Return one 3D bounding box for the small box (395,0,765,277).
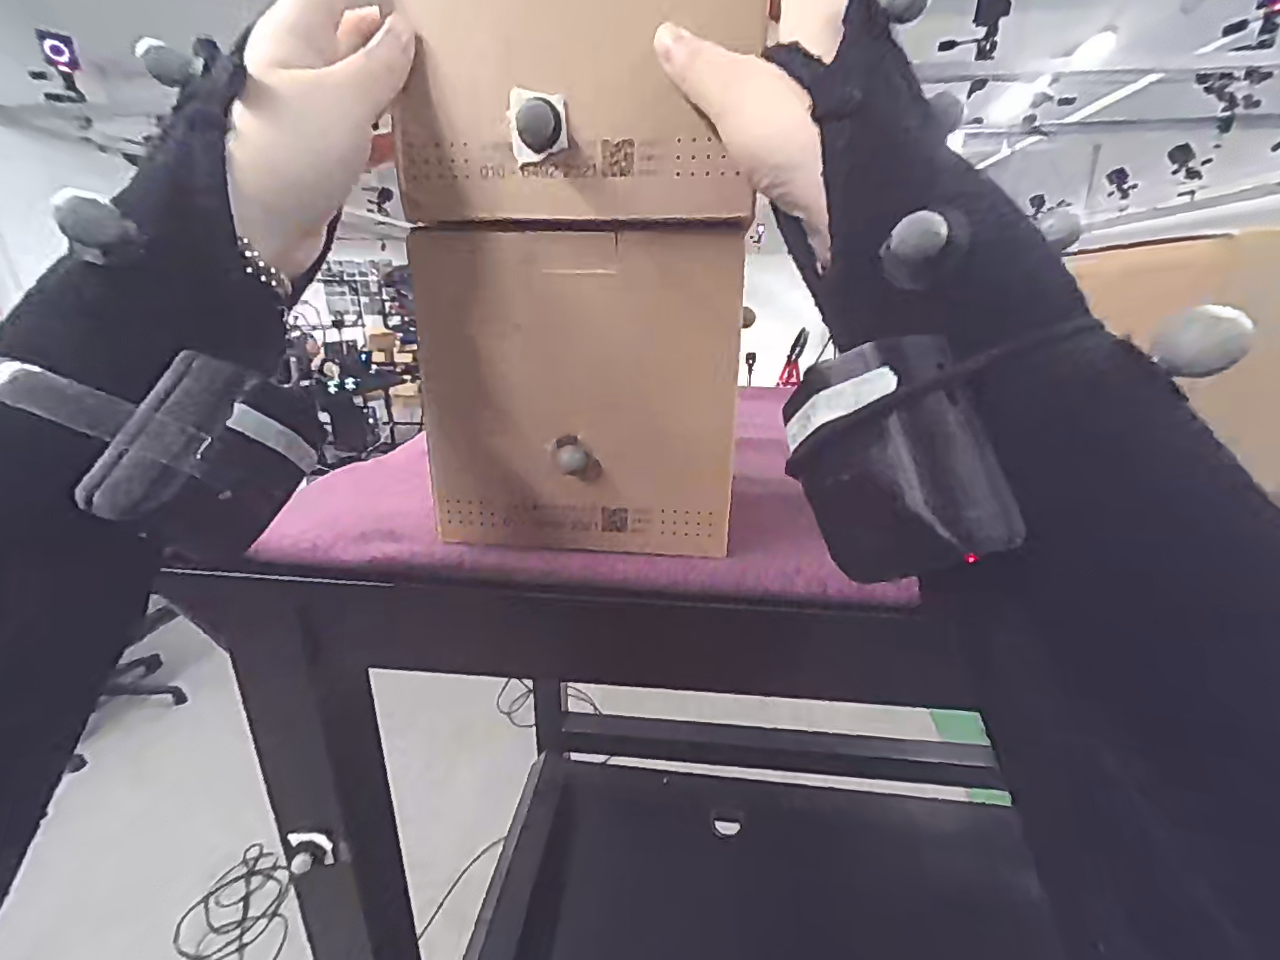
[{"bbox_3d":[-0.021,-0.203,0.306,0.168,0.176,0.179,2,19,7],"label":"small box"}]

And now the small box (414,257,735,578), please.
[{"bbox_3d":[-0.026,-0.051,0.365,0.168,0.176,0.179,2,18,6],"label":"small box"}]
